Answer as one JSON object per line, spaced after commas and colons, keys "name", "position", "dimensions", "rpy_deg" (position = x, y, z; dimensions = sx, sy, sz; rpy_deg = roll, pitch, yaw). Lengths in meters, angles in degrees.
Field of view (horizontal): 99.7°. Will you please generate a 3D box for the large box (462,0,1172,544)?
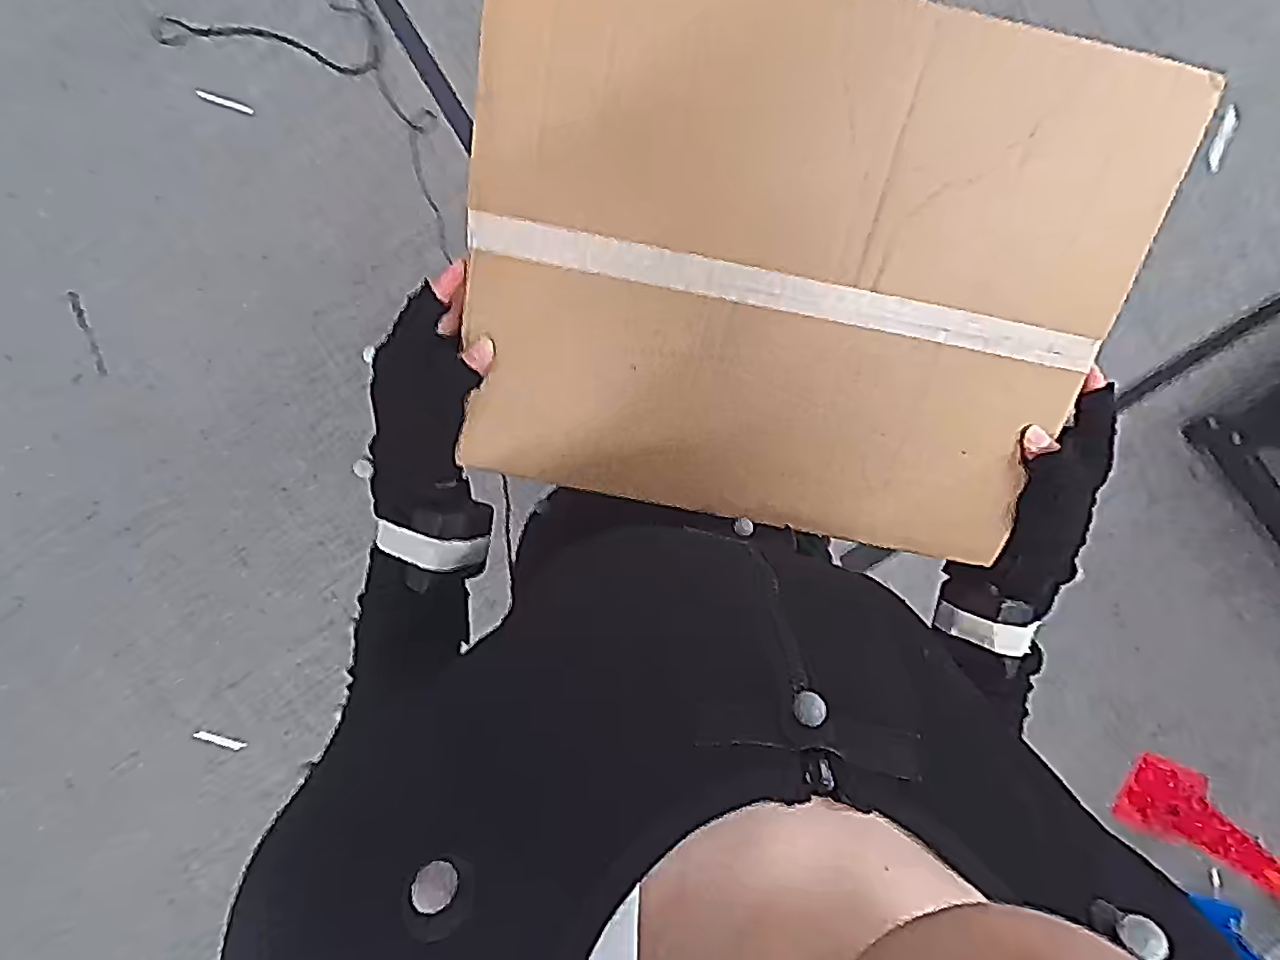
{"name": "large box", "position": [0.088, -0.173, 0.492], "dimensions": [0.408, 0.320, 0.320], "rpy_deg": [10, 111, -2]}
